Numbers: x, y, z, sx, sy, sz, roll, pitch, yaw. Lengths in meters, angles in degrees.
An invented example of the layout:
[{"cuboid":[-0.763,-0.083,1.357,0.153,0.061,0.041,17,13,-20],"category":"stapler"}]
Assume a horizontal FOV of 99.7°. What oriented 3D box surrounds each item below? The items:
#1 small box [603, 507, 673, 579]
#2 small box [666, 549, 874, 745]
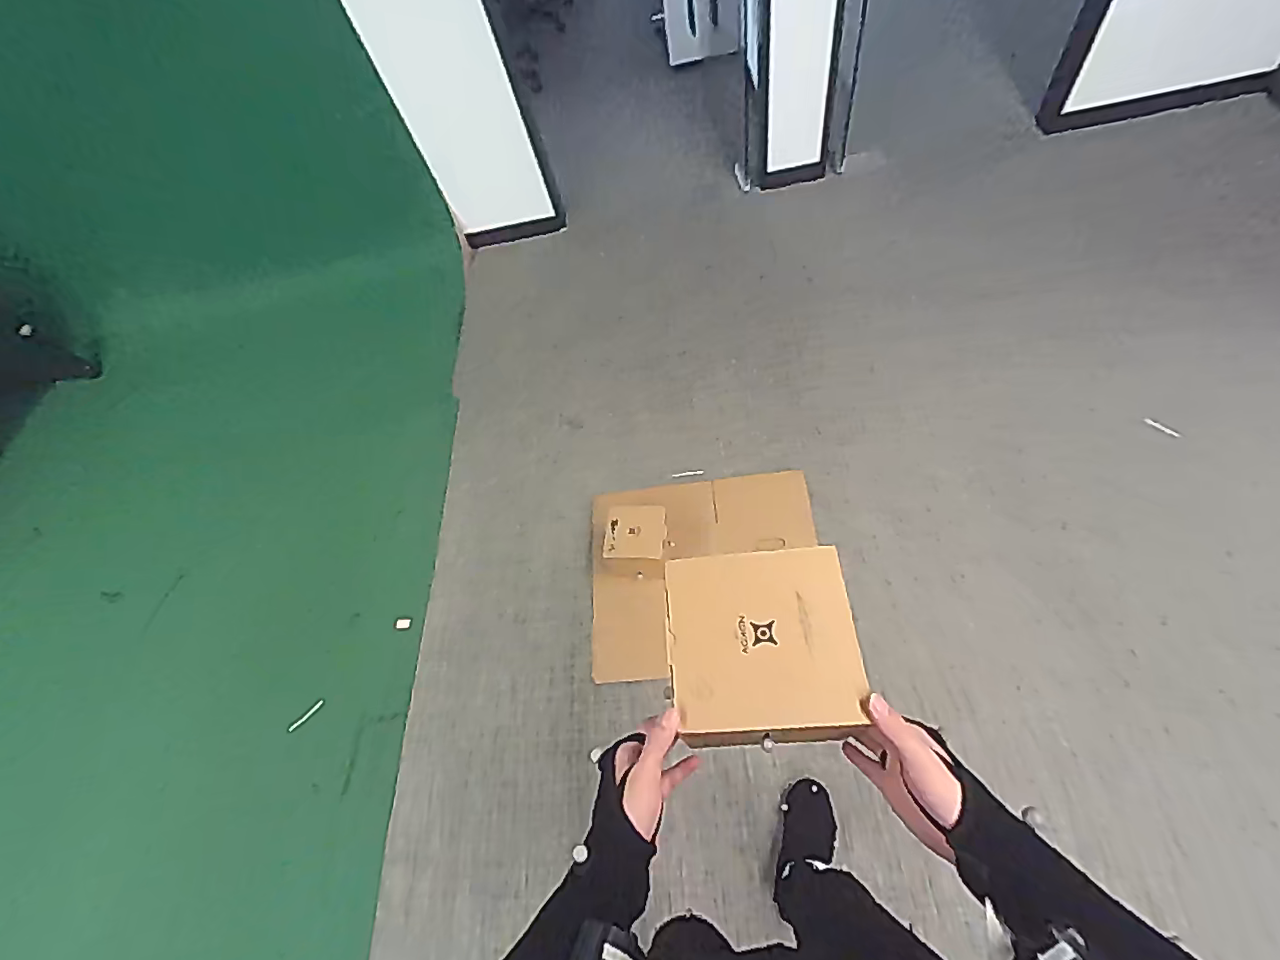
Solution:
[{"cuboid":[0.001,0.192,1.619,0.179,0.176,0.168,1,61,12],"category":"small box"},{"cuboid":[0.127,0.186,0.579,0.179,0.176,0.168,-5,60,6],"category":"small box"}]
